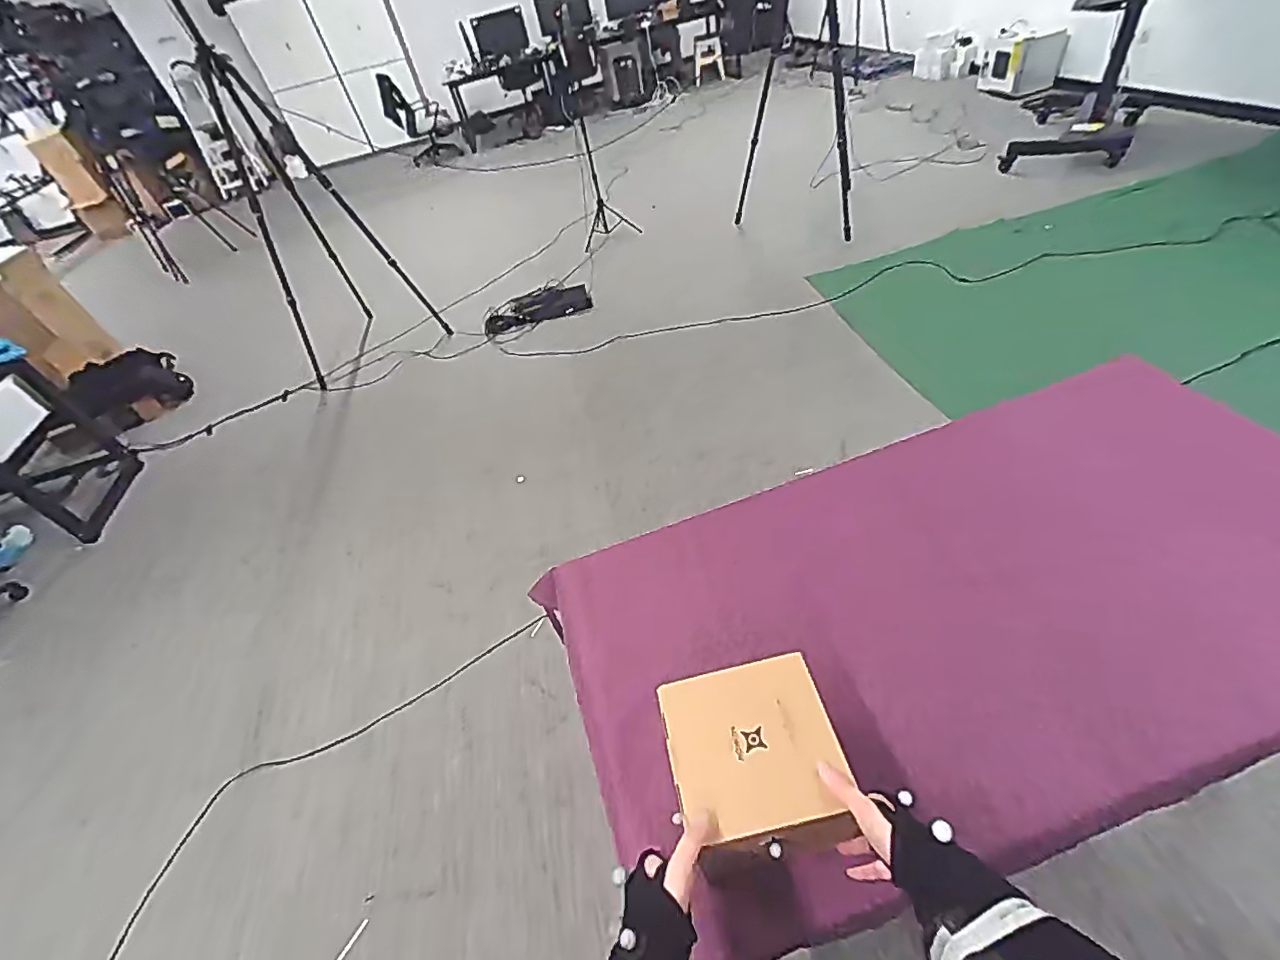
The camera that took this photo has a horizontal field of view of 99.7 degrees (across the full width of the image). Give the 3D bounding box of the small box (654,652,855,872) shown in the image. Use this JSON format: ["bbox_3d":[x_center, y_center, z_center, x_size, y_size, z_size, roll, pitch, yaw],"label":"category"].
[{"bbox_3d":[0.127,0.330,0.629,0.179,0.176,0.168,-14,45,1],"label":"small box"}]
